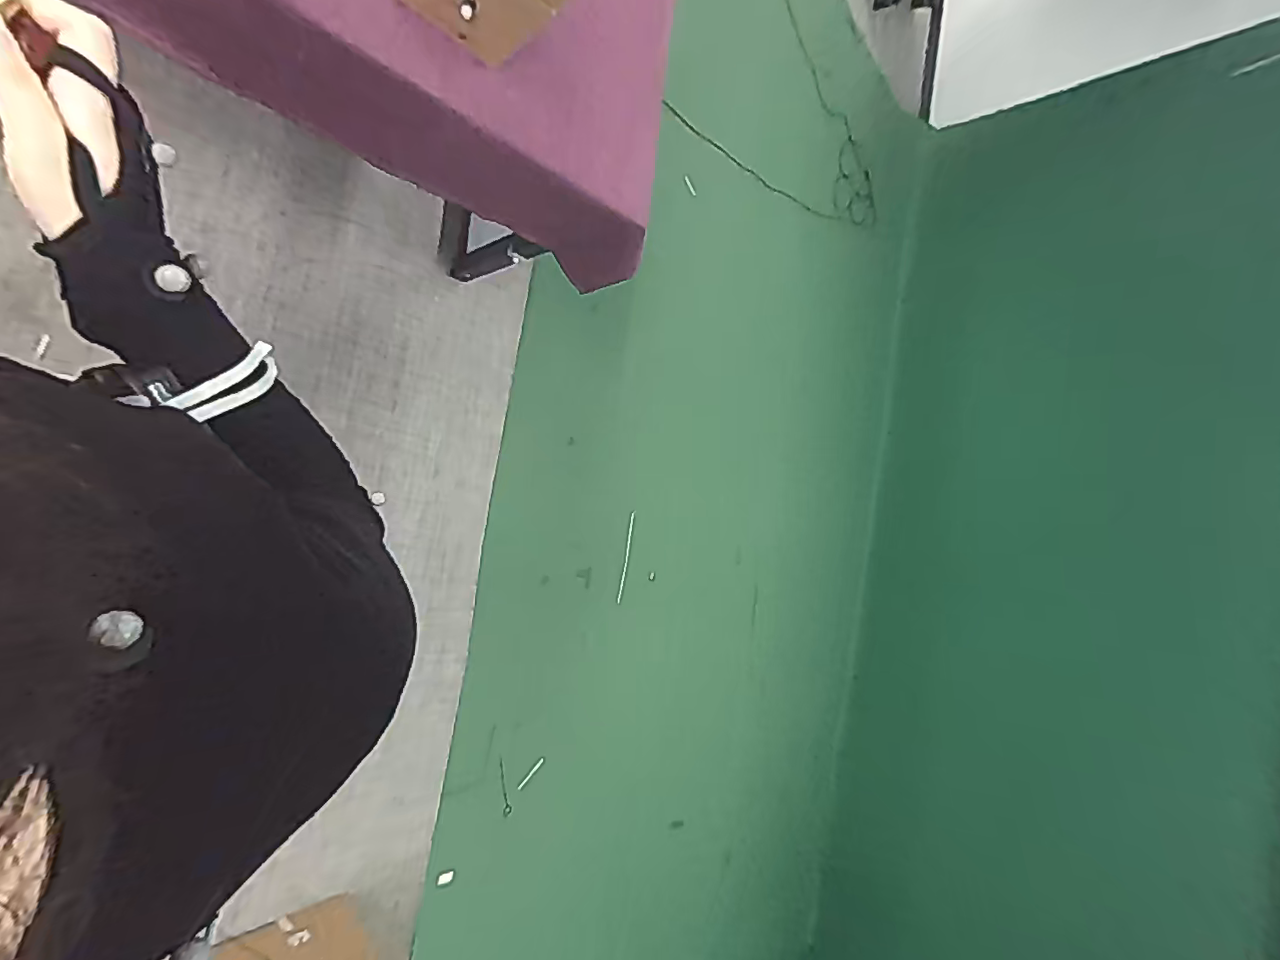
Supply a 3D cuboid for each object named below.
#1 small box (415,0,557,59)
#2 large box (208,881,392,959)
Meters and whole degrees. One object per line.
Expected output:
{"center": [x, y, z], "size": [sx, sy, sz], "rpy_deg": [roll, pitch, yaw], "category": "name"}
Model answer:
{"center": [-0.215, -0.731, 0.731], "size": [0.168, 0.176, 0.179], "rpy_deg": [9, 89, -47], "category": "small box"}
{"center": [-0.835, 1.304, 1.292], "size": [0.320, 0.320, 0.408], "rpy_deg": [10, 89, -47], "category": "large box"}
